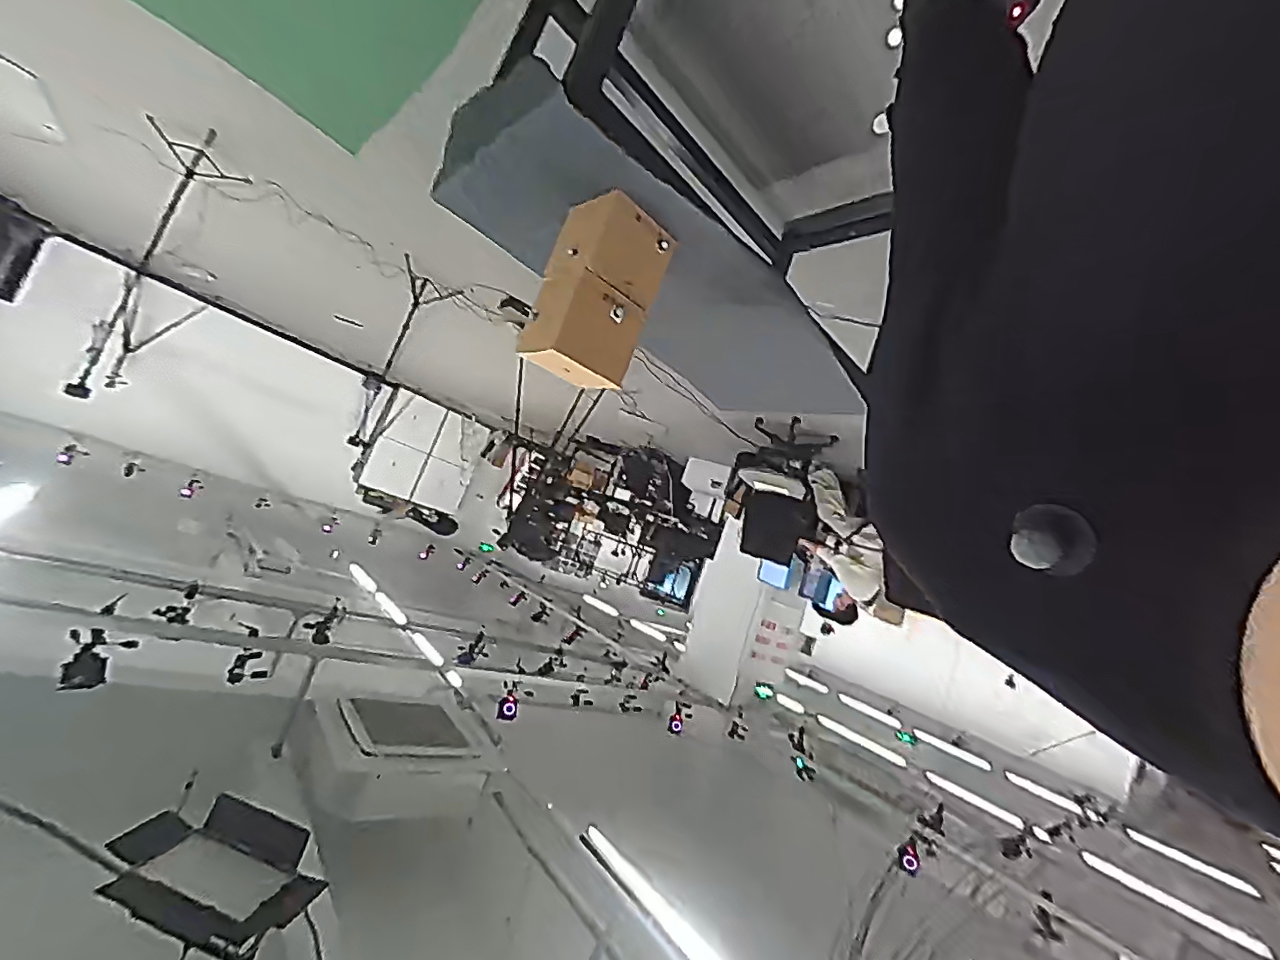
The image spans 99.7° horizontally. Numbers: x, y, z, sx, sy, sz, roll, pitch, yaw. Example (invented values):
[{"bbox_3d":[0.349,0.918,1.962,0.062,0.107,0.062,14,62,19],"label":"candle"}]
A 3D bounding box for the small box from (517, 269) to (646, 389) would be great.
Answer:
[{"bbox_3d":[-0.115,-0.294,1.079,0.168,0.176,0.179,23,173,-37],"label":"small box"}]

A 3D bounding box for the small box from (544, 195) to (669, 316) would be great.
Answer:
[{"bbox_3d":[-0.061,-0.446,1.098,0.168,0.176,0.179,25,174,-40],"label":"small box"}]
